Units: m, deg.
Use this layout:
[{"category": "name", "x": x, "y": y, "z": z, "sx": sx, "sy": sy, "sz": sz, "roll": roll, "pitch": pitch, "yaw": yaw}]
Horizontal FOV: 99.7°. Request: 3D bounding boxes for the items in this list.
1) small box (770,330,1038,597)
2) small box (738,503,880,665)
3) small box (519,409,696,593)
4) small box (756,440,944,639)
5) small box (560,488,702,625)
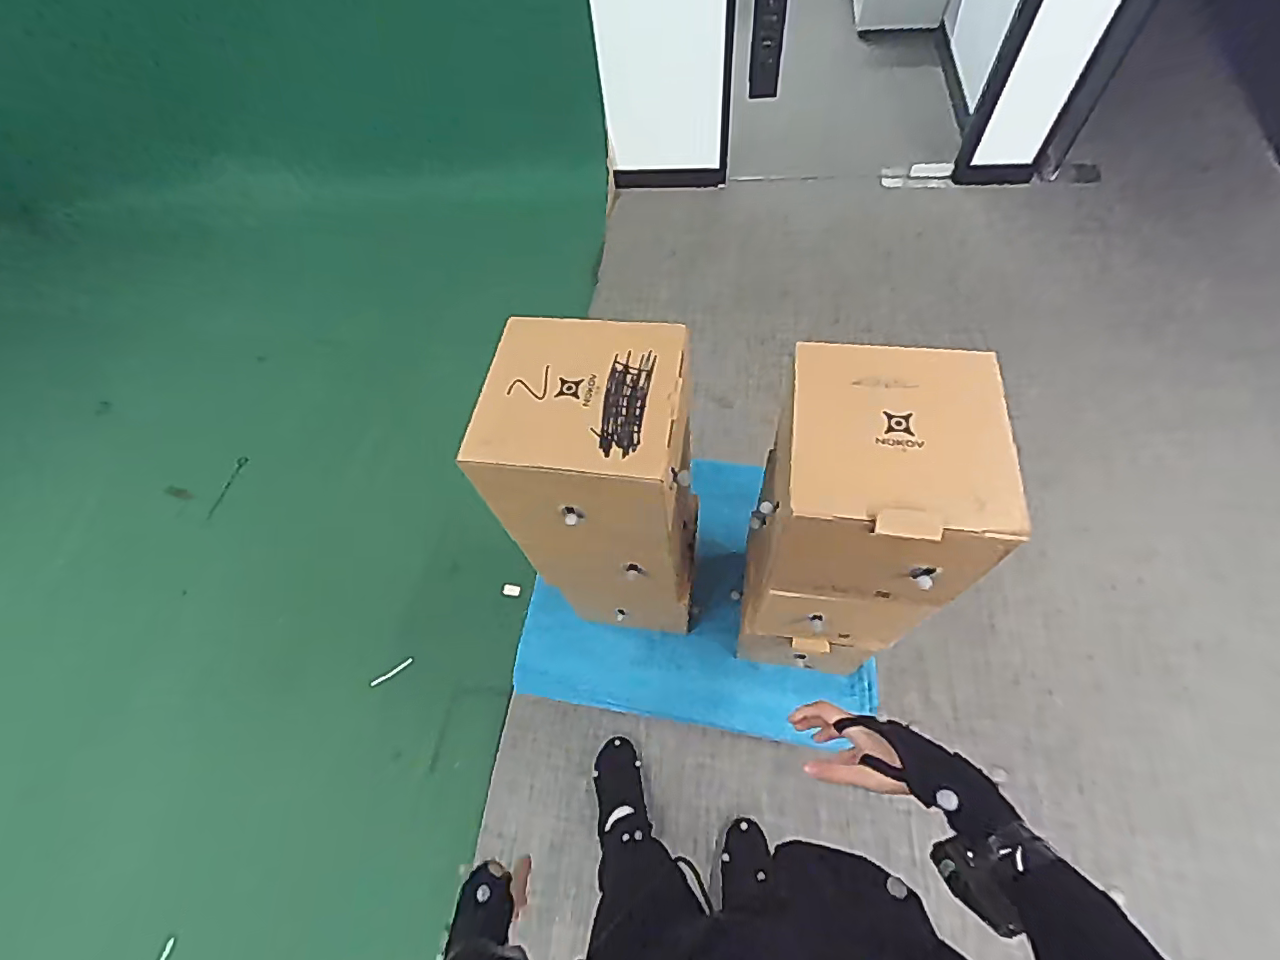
[{"category": "small box", "x": 0.213, "y": -0.008, "z": 0.488, "sx": 0.168, "sy": 0.176, "sz": 0.179, "roll": 7, "pitch": 60, "yaw": 9}, {"category": "small box", "x": 0.233, "y": 0.154, "z": 0.770, "sx": 0.168, "sy": 0.176, "sz": 0.179, "roll": 6, "pitch": 62, "yaw": 9}, {"category": "small box", "x": -0.026, "y": 0.033, "z": 0.674, "sx": 0.179, "sy": 0.176, "sz": 0.168, "roll": 5, "pitch": 61, "yaw": 9}, {"category": "small box", "x": 0.227, "y": 0.075, "z": 0.628, "sx": 0.168, "sy": 0.176, "sz": 0.179, "roll": 4, "pitch": 60, "yaw": 8}, {"category": "small box", "x": -0.003, "y": 0.113, "z": 0.816, "sx": 0.179, "sy": 0.176, "sz": 0.168, "roll": 5, "pitch": 61, "yaw": 9}]
